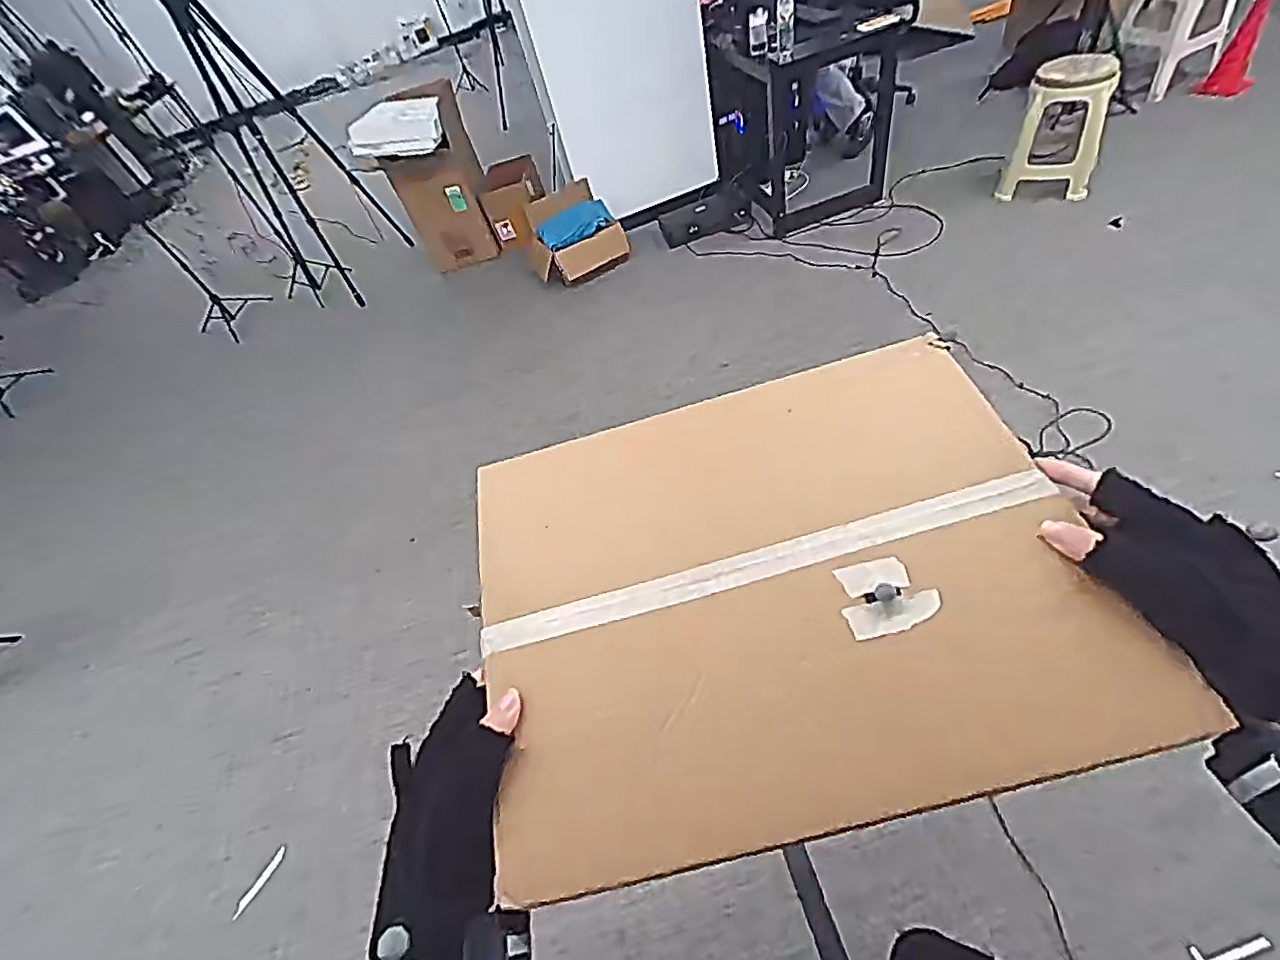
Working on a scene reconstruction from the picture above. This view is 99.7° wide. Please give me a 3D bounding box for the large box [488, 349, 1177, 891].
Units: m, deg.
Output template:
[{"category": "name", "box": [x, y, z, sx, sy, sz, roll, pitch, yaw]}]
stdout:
[{"category": "large box", "box": [0.112, 0.143, 0.517, 0.408, 0.320, 0.320, -17, 57, 3]}]
